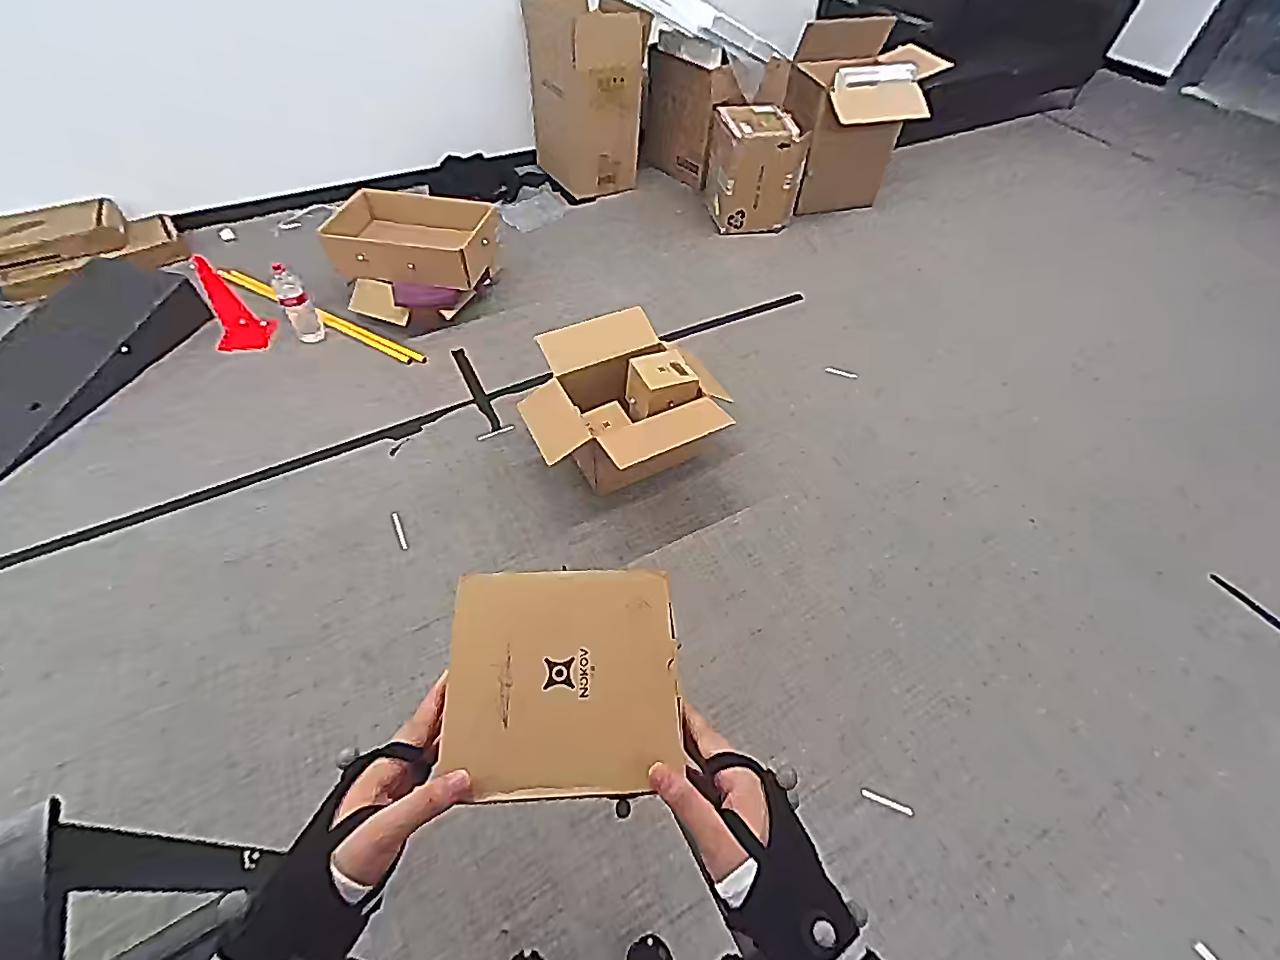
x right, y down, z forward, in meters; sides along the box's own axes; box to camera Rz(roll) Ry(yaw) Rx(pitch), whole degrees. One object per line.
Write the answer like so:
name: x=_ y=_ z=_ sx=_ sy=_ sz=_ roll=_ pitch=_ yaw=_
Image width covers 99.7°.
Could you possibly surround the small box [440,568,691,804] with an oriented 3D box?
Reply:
small box: x=-0.059 y=0.188 z=0.482 sx=0.179 sy=0.176 sz=0.168 roll=-2 pitch=58 yaw=-4
